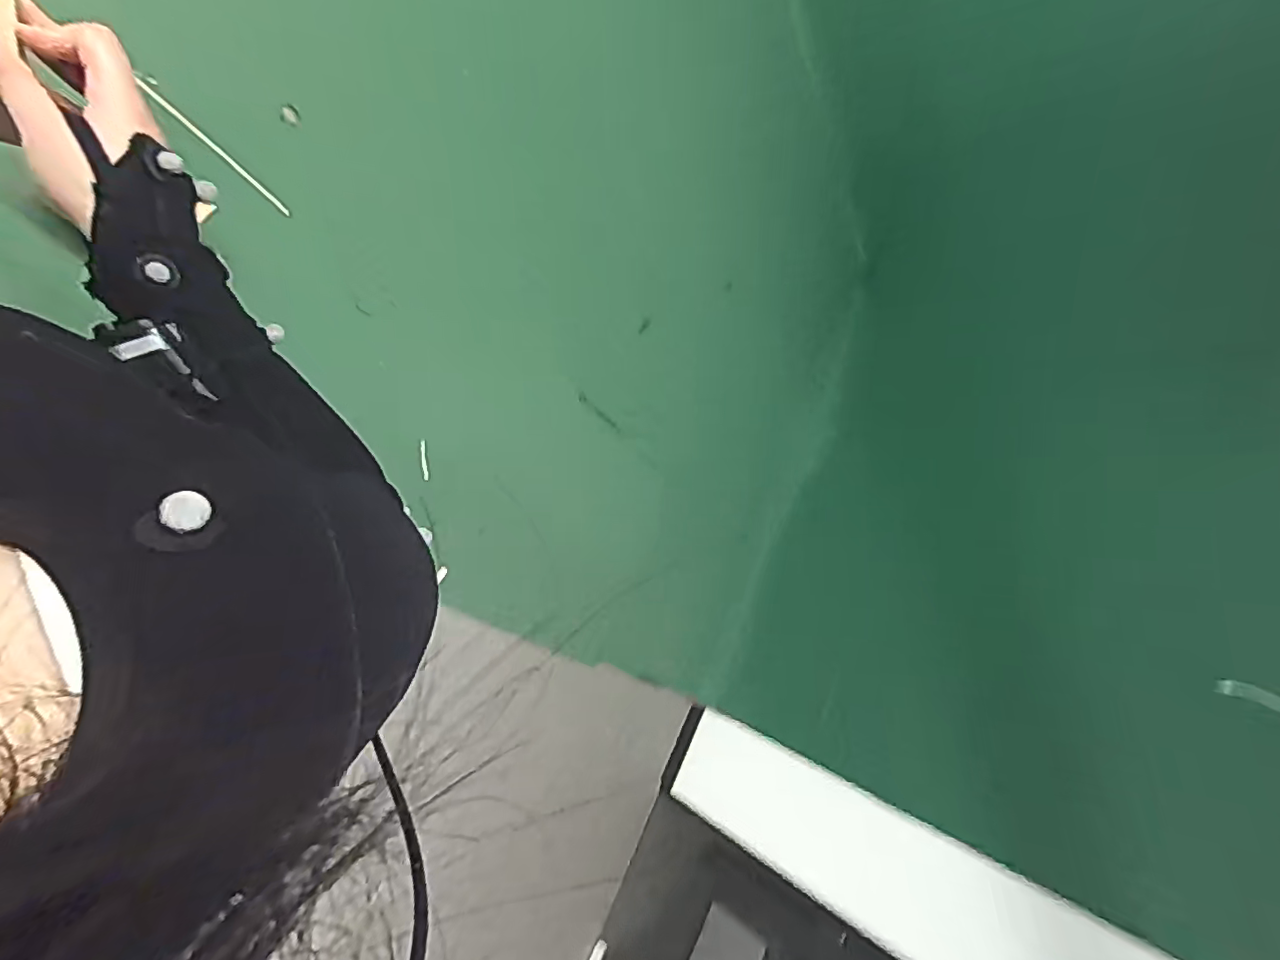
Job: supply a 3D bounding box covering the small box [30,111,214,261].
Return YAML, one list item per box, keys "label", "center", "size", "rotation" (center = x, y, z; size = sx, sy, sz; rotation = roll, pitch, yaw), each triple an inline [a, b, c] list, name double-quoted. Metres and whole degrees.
- label: "small box"
  center: [-0.939, -0.523, 0.987]
  size: [0.168, 0.176, 0.179]
  rotation: [-59, 136, -18]
